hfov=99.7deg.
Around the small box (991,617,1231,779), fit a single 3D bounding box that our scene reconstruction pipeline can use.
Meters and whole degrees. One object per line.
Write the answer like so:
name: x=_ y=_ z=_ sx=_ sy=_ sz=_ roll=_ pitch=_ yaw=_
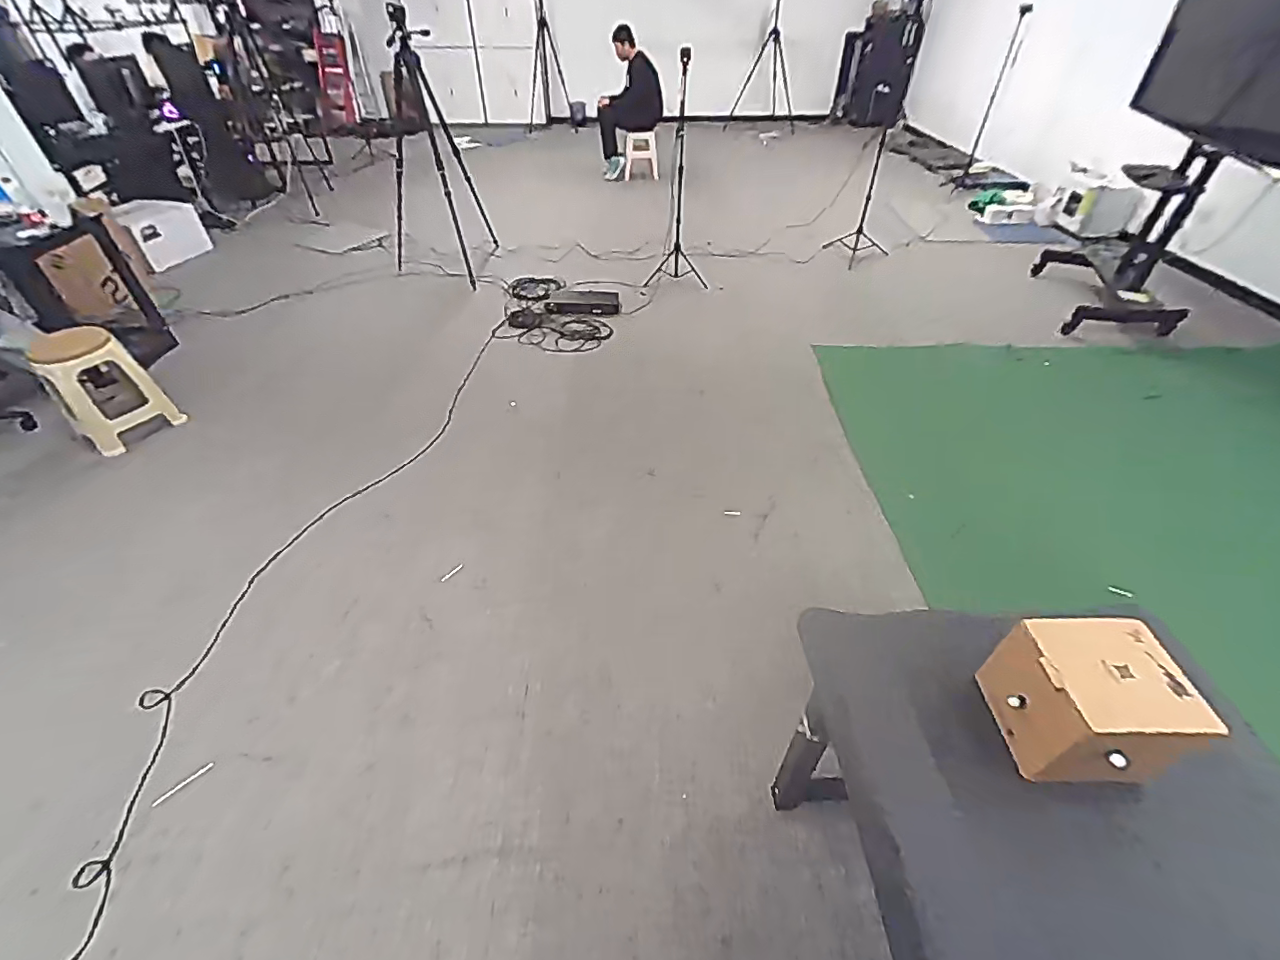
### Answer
small box: x=0.644 y=0.315 z=0.777 sx=0.179 sy=0.176 sz=0.168 roll=0 pitch=43 yaw=1
